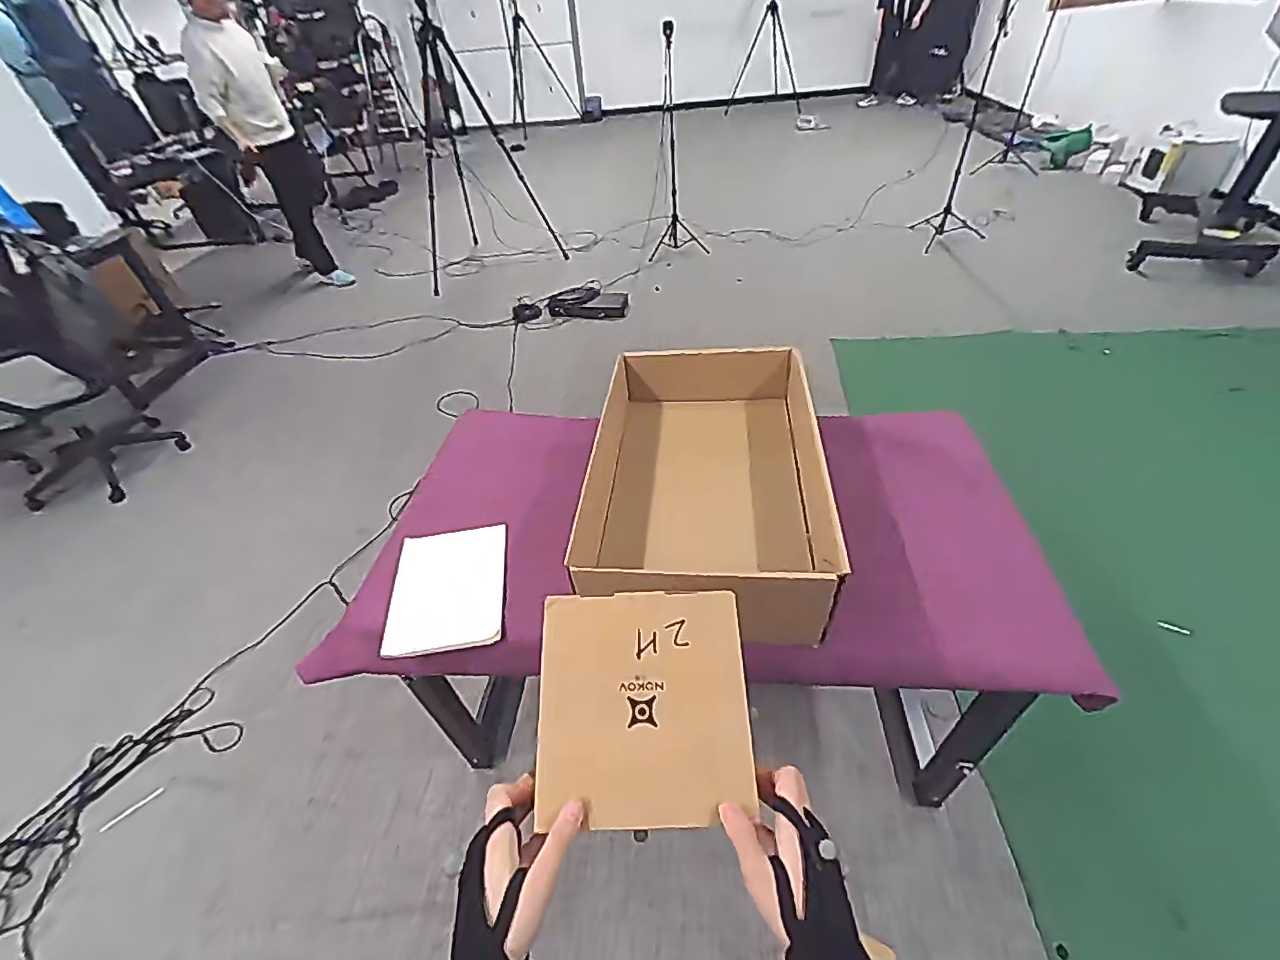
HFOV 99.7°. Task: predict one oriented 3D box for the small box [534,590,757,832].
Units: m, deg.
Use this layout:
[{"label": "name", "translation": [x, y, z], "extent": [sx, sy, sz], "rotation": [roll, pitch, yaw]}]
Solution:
[{"label": "small box", "translation": [0.005, 0.210, 0.496], "extent": [0.168, 0.176, 0.179], "rotation": [-1, 61, 0]}]
